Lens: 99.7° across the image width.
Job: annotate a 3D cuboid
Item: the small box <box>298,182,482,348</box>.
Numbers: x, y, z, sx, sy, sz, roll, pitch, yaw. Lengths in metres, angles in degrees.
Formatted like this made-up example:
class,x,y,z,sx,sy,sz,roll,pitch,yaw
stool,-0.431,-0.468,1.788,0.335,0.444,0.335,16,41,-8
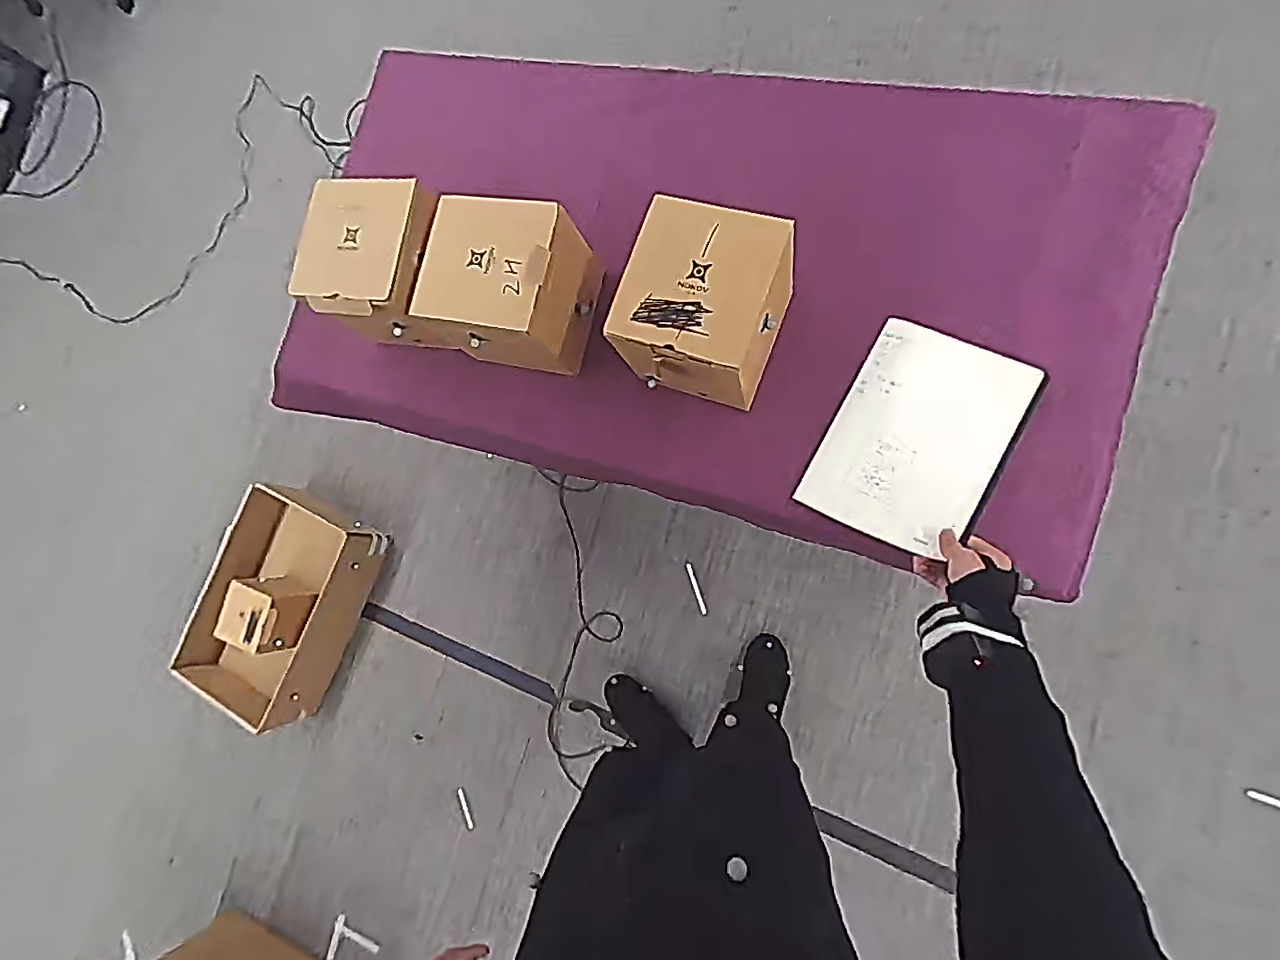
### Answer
class,x,y,z,sx,sy,sz,roll,pitch,yaw
small box,-0.358,-0.309,0.804,0.168,0.176,0.179,9,84,15

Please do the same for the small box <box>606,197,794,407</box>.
class,x,y,z,sx,sy,sz,roll,pitch,yaw
small box,0.084,-0.208,0.670,0.168,0.176,0.179,20,87,17
